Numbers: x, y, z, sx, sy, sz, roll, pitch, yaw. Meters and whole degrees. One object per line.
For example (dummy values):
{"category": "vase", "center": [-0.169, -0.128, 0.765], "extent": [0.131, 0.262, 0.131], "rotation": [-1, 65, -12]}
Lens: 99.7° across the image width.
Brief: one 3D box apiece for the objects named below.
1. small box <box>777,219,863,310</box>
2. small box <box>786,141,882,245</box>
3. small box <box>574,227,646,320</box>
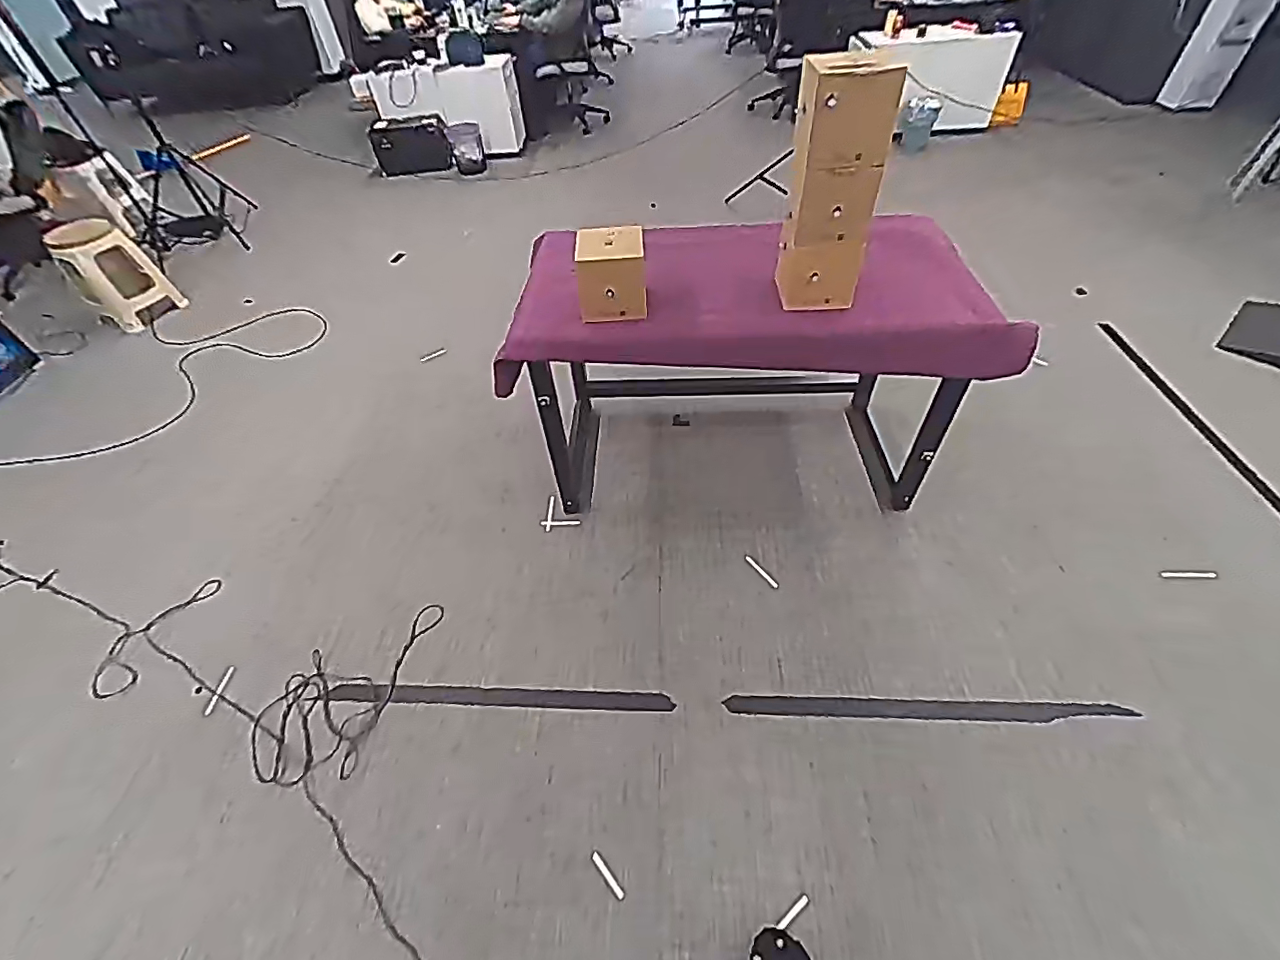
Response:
{"category": "small box", "center": [0.447, -0.546, 1.371], "extent": [0.168, 0.176, 0.179], "rotation": [-1, 48, 4]}
{"category": "small box", "center": [0.439, -0.659, 1.252], "extent": [0.168, 0.176, 0.179], "rotation": [0, 48, 5]}
{"category": "small box", "center": [-0.071, -0.524, 1.383], "extent": [0.168, 0.176, 0.179], "rotation": [-3, 47, 1]}
